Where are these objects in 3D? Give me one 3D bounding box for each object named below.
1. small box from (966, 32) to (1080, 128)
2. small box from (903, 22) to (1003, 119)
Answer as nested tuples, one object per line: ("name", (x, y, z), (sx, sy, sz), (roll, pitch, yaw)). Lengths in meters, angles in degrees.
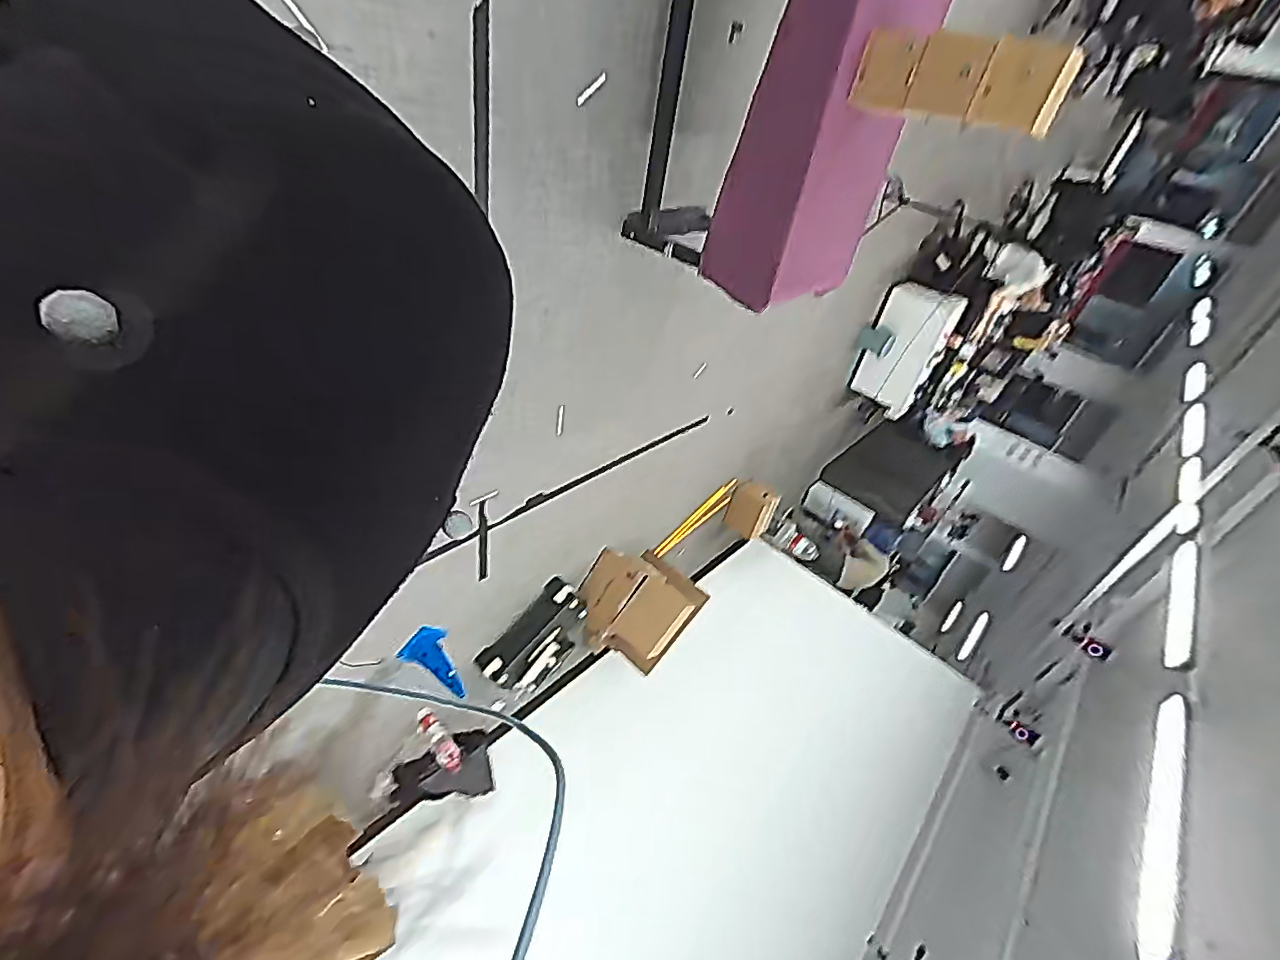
("small box", (0.954, -1.001, 1.357), (0.179, 0.176, 0.168), (-28, 142, -42))
("small box", (0.831, -1.081, 1.429), (0.168, 0.176, 0.179), (-27, 141, -42))
